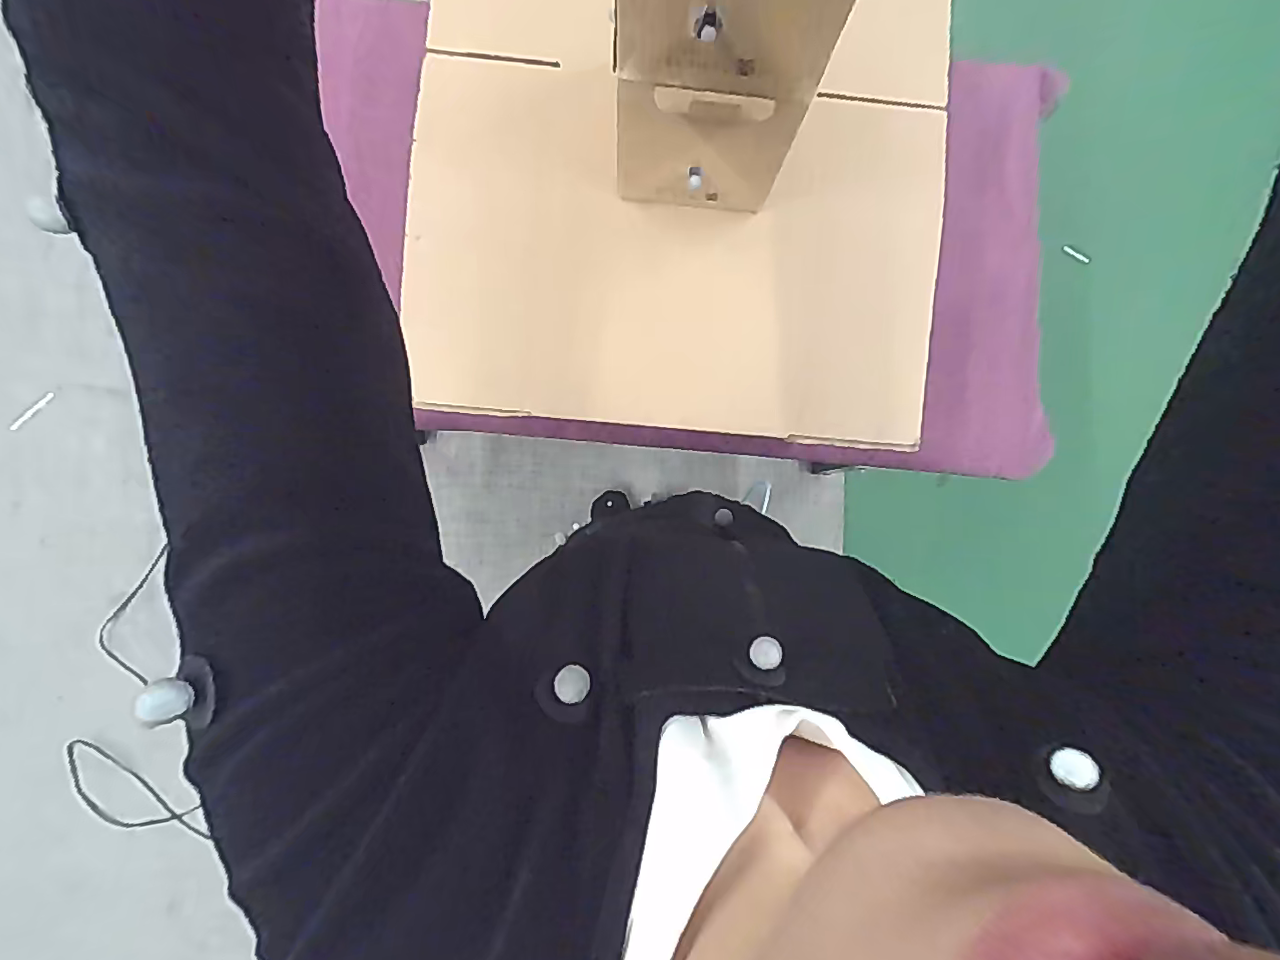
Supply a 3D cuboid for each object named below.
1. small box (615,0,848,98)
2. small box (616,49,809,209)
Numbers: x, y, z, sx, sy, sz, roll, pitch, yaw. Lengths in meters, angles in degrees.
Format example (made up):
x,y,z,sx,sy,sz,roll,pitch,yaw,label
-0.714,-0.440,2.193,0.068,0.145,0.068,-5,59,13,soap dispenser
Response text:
x,y,z,sx,sy,sz,roll,pitch,yaw,label
0.071,-0.420,0.377,0.168,0.176,0.179,5,85,-2,small box
0.065,-0.407,0.539,0.168,0.176,0.179,5,85,-1,small box
